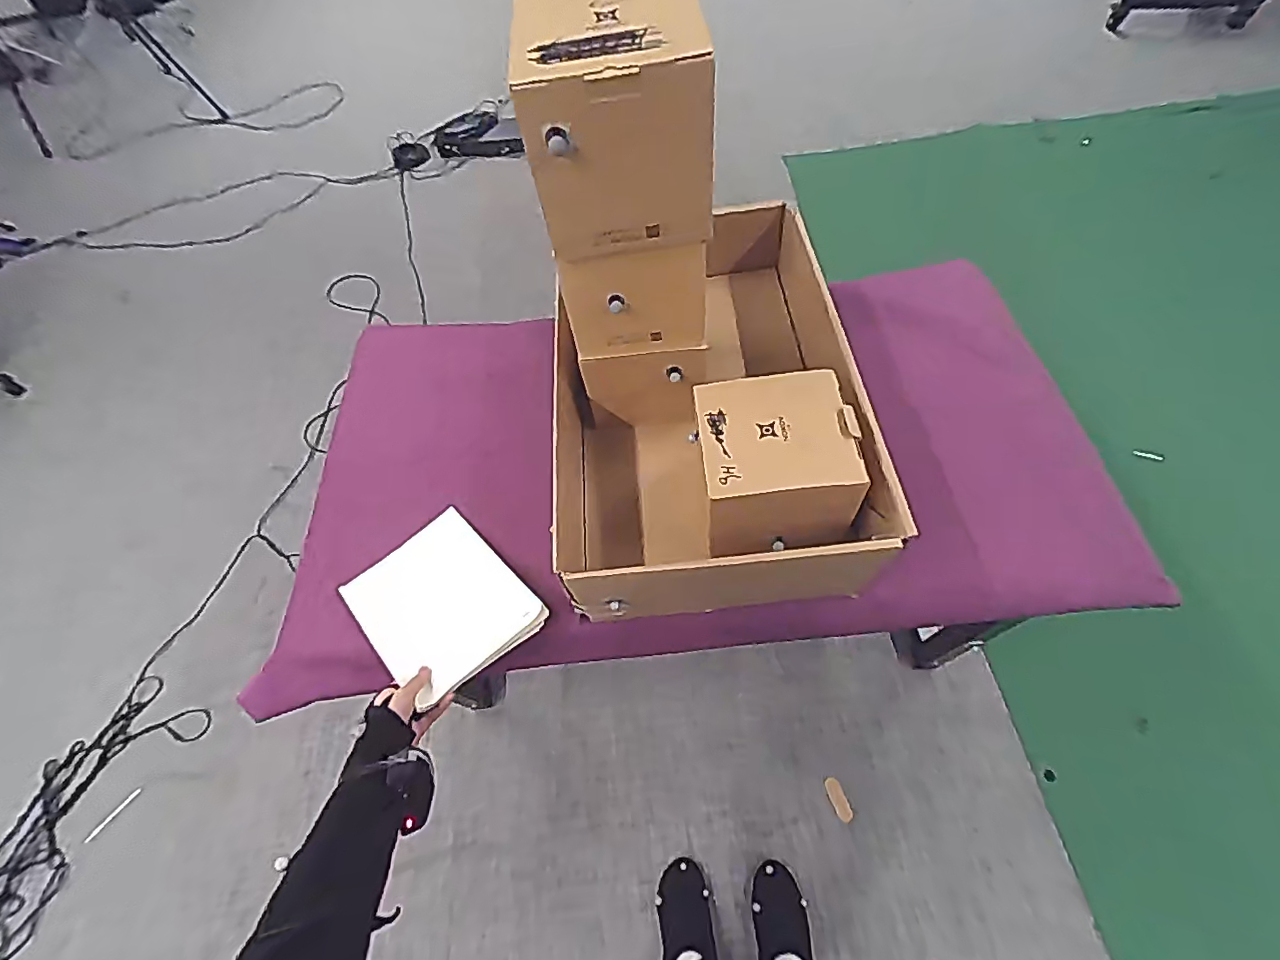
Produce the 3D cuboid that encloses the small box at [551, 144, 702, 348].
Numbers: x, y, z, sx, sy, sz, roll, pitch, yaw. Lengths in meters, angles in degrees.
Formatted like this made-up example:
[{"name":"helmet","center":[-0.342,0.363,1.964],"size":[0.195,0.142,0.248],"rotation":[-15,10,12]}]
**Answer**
[{"name":"small box","center":[-0.010,-0.284,0.685],"size":[0.168,0.176,0.179],"rotation":[-5,61,3]}]
